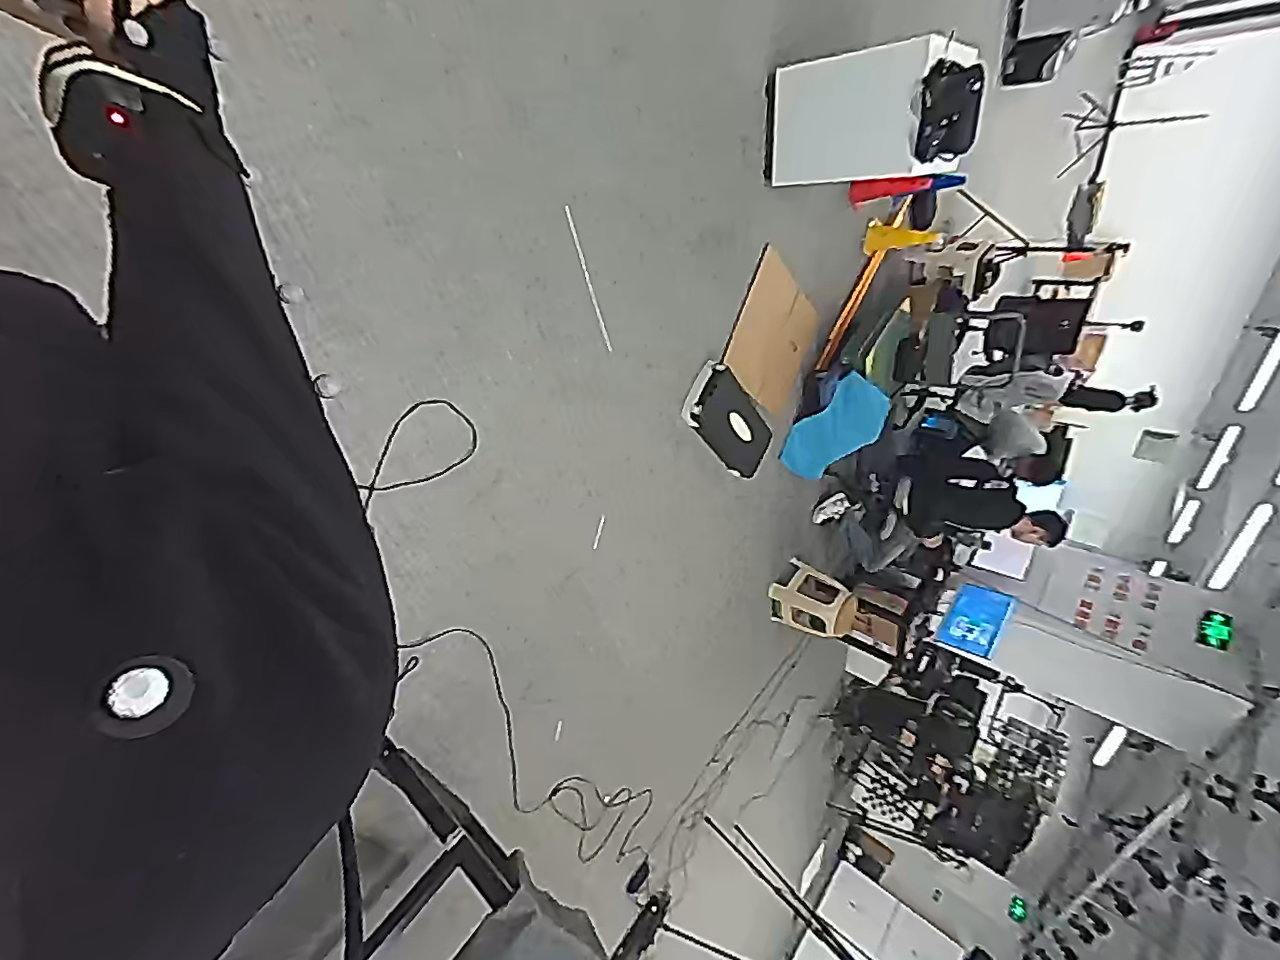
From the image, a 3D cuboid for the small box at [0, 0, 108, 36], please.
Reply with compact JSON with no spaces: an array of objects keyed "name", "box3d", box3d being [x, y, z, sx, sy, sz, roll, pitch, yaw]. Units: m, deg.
[{"name":"small box","box3d":[-0.480,-0.453,0.370,0.179,0.176,0.168,6,105,-48]}]
